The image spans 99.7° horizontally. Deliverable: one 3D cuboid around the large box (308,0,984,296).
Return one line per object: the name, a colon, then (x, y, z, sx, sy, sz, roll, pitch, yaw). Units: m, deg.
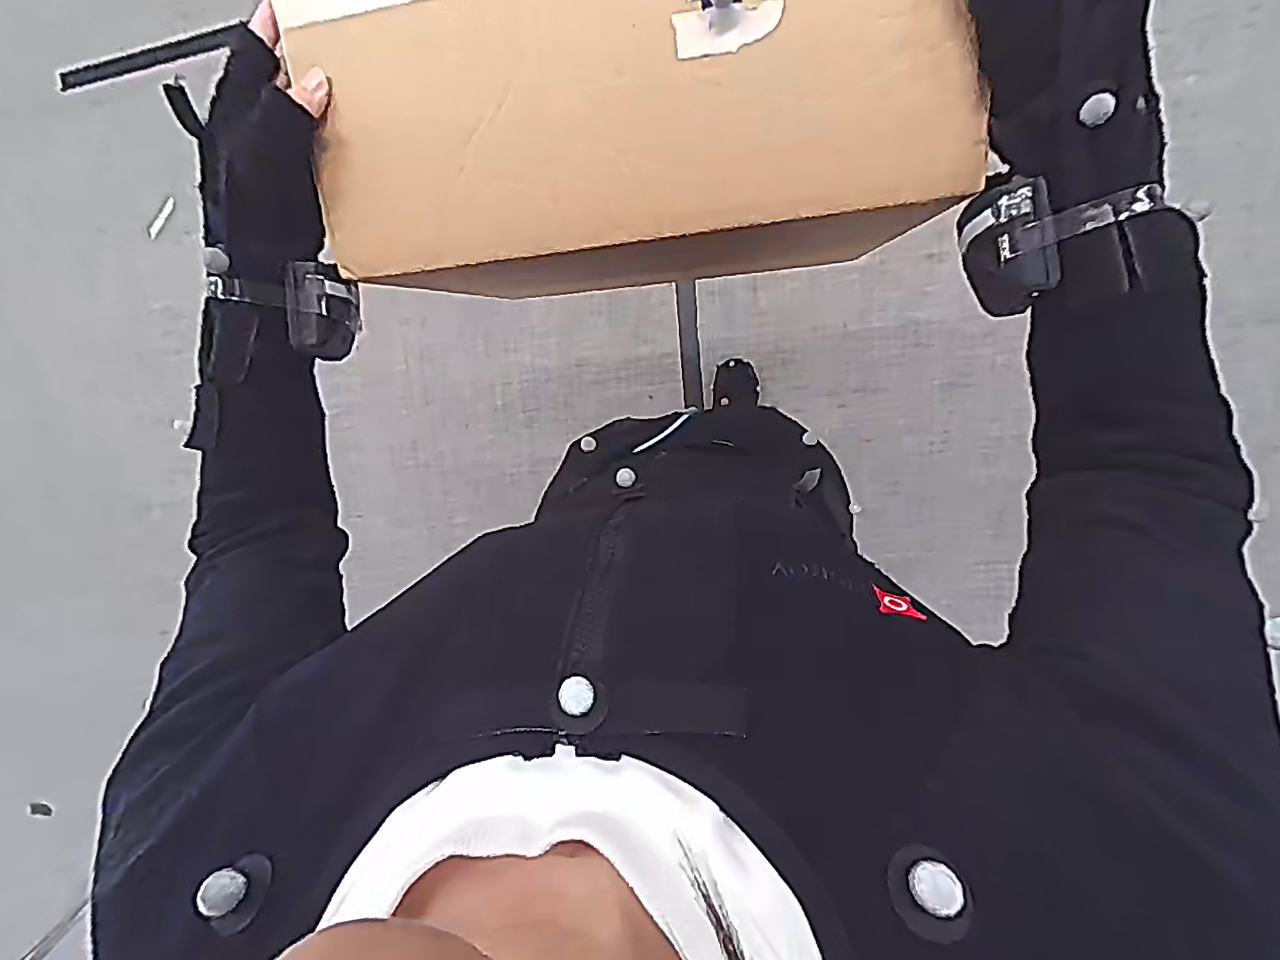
large box: (0.005, -0.348, 0.451, 0.408, 0.320, 0.320, -4, 106, 10)
